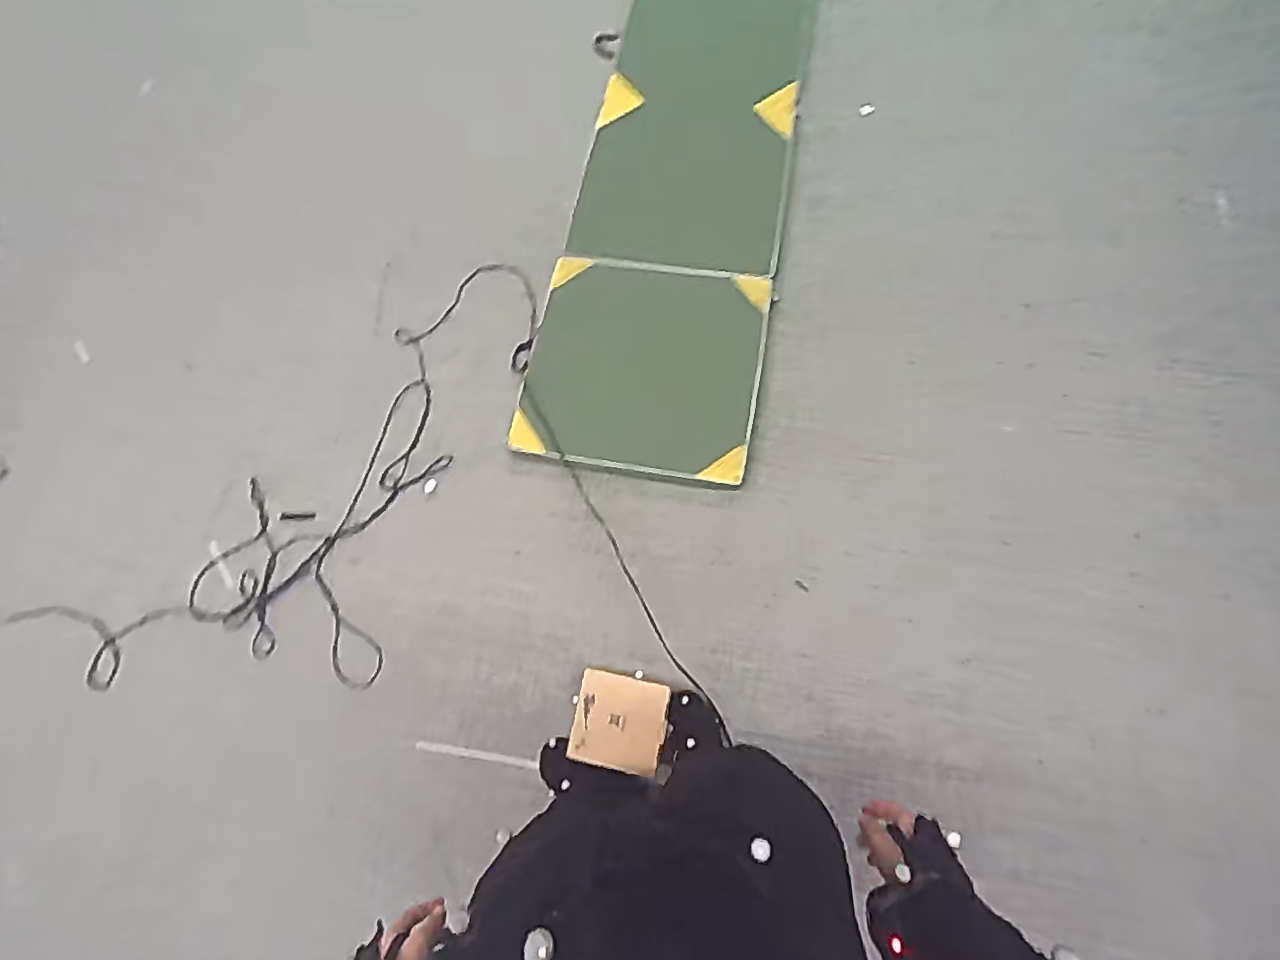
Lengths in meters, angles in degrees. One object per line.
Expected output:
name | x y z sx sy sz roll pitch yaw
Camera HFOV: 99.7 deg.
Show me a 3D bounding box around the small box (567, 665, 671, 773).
small box | -0.035 0.480 1.113 0.179 0.176 0.168 9 73 7
